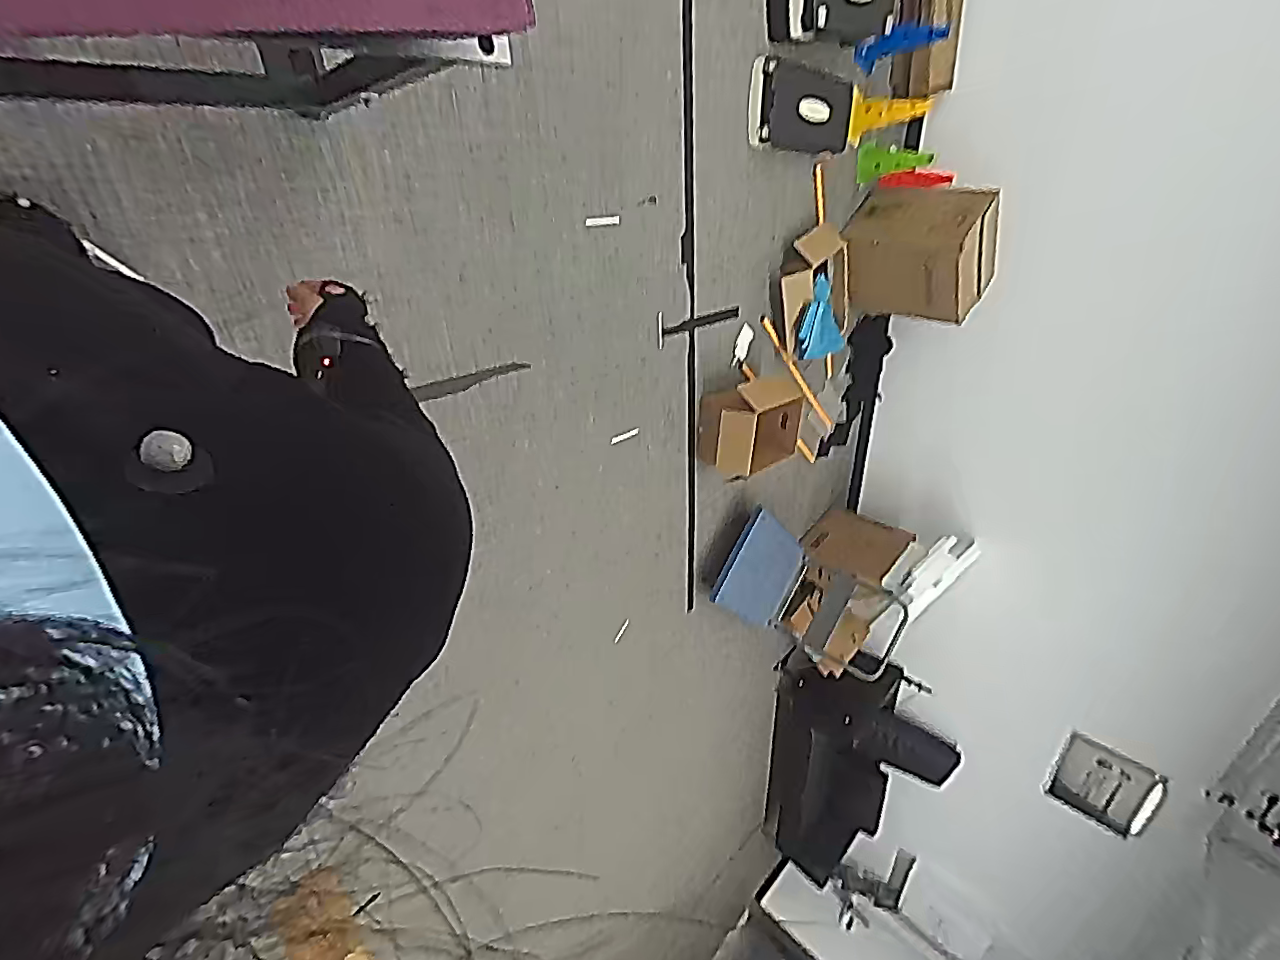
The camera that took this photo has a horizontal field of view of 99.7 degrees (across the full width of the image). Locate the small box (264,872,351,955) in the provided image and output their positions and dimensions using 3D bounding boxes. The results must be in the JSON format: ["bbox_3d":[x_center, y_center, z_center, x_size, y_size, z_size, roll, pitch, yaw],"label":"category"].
[{"bbox_3d":[-1.076,1.421,1.747,0.168,0.176,0.179,-31,130,-35],"label":"small box"}]

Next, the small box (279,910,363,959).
[{"bbox_3d":[-0.960,1.472,1.645,0.168,0.176,0.179,-30,128,-36],"label":"small box"}]
